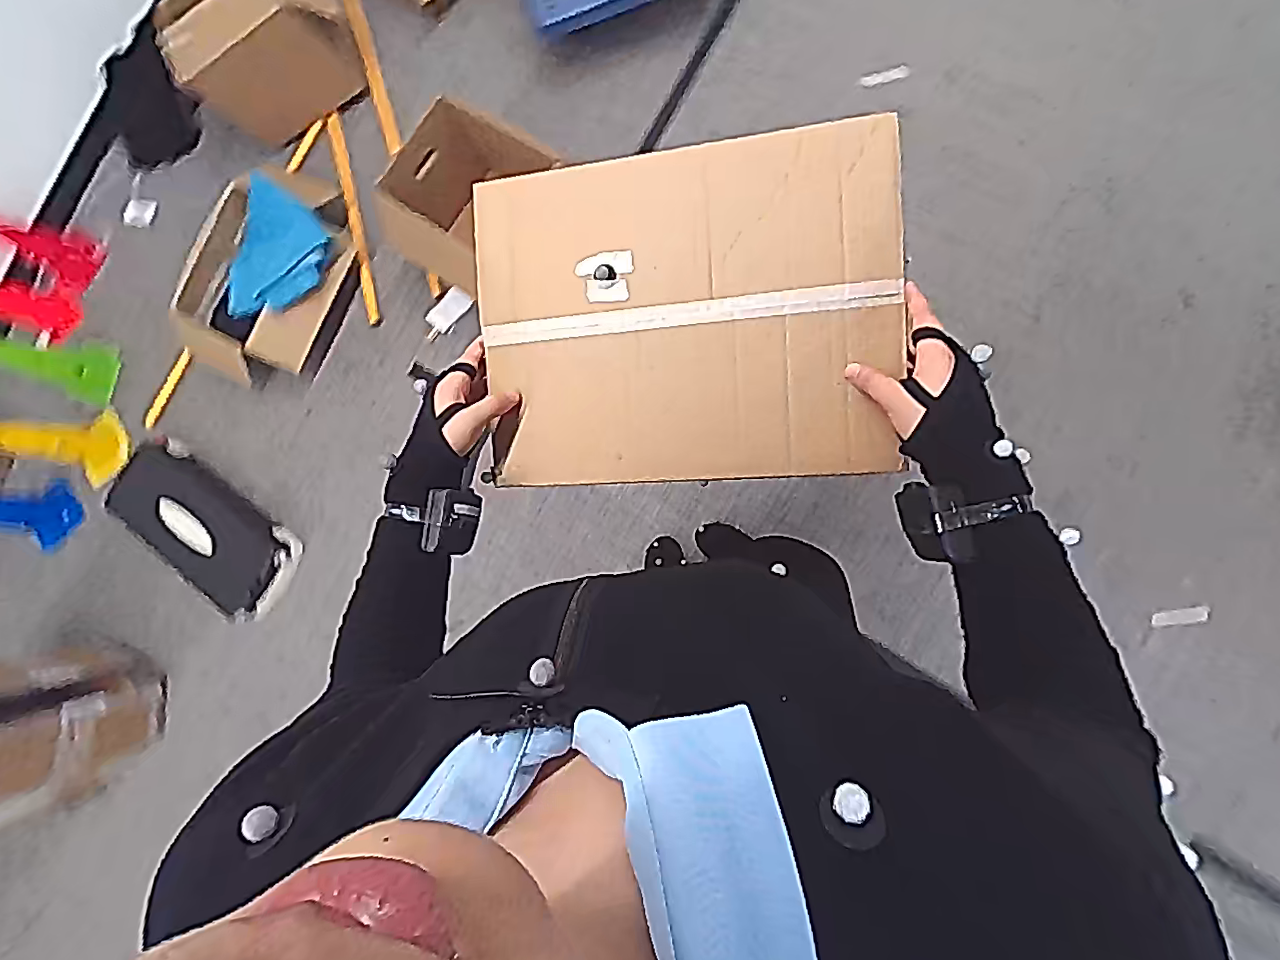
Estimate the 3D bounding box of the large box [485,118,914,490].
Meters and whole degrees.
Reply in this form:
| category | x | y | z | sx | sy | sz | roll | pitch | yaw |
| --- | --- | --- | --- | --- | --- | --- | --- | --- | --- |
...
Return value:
| category | x | y | z | sx | sy | sz | roll | pitch | yaw |
| --- | --- | --- | --- | --- | --- | --- | --- | --- | --- |
| large box | 0.077 | -0.159 | 0.657 | 0.408 | 0.320 | 0.320 | -2 | 92 | 14 |
